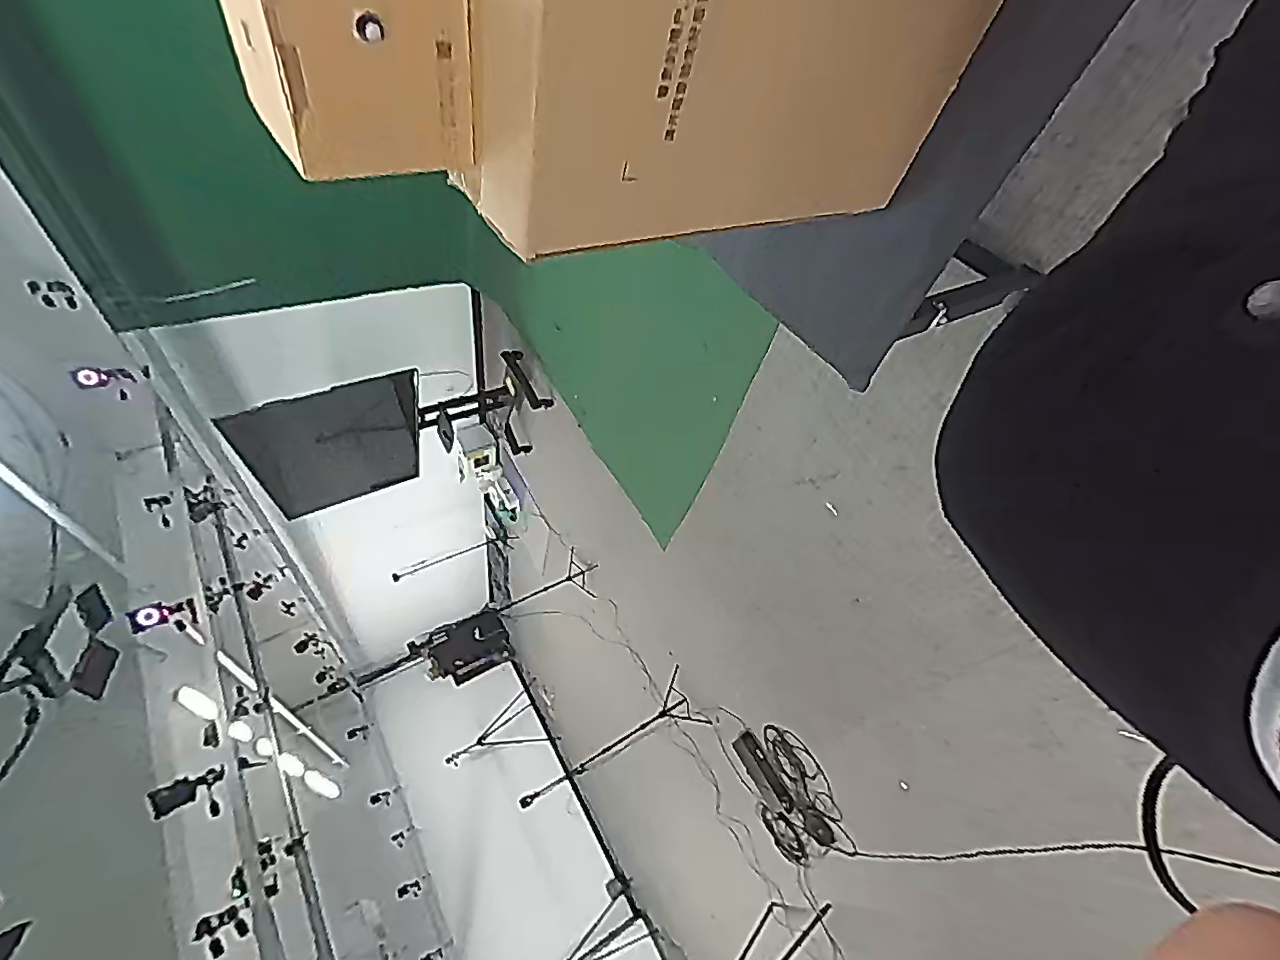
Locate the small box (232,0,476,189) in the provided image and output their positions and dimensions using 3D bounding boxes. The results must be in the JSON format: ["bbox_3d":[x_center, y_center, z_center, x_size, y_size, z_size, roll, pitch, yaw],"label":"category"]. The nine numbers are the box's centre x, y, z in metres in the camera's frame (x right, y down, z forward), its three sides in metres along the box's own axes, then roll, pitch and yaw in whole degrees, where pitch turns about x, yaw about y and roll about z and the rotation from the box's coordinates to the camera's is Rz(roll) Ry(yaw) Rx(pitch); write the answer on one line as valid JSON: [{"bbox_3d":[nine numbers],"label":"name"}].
[{"bbox_3d":[-0.268,-0.410,0.517,0.179,0.176,0.168,52,147,24],"label":"small box"}]
